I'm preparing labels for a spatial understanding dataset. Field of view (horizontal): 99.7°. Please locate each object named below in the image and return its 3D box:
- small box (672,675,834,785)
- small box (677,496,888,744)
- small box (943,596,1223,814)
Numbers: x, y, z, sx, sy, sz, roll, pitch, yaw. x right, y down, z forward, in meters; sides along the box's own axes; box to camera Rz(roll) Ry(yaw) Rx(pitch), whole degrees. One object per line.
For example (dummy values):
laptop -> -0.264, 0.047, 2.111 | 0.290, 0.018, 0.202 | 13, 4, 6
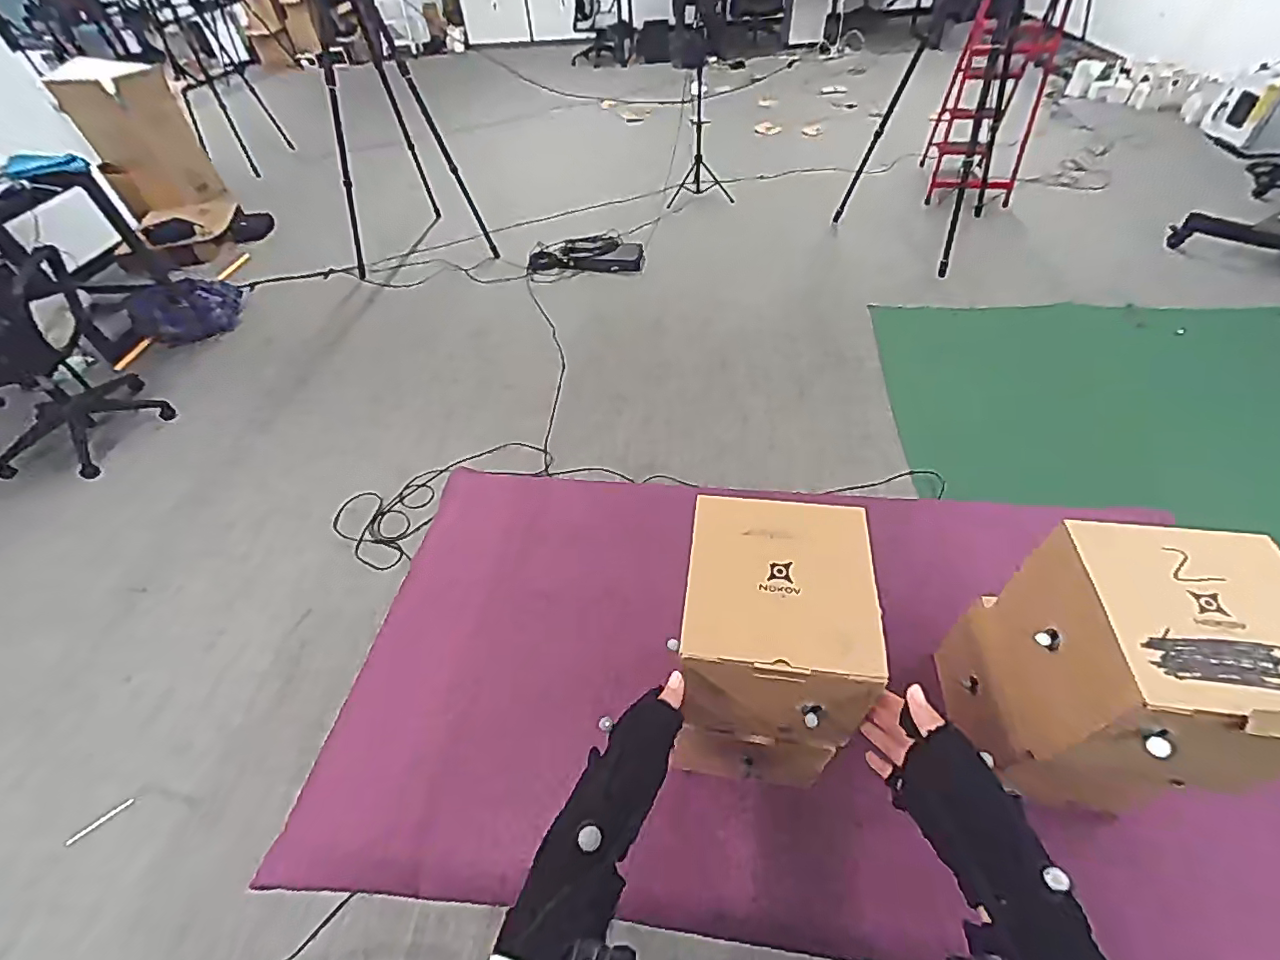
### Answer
small box -> 0.134, 0.250, 0.658 | 0.168, 0.176, 0.179 | 6, 50, 9
small box -> 0.130, 0.141, 0.537 | 0.168, 0.176, 0.179 | 5, 49, 9
small box -> 0.473, 0.260, 0.618 | 0.168, 0.176, 0.179 | 7, 50, 9
